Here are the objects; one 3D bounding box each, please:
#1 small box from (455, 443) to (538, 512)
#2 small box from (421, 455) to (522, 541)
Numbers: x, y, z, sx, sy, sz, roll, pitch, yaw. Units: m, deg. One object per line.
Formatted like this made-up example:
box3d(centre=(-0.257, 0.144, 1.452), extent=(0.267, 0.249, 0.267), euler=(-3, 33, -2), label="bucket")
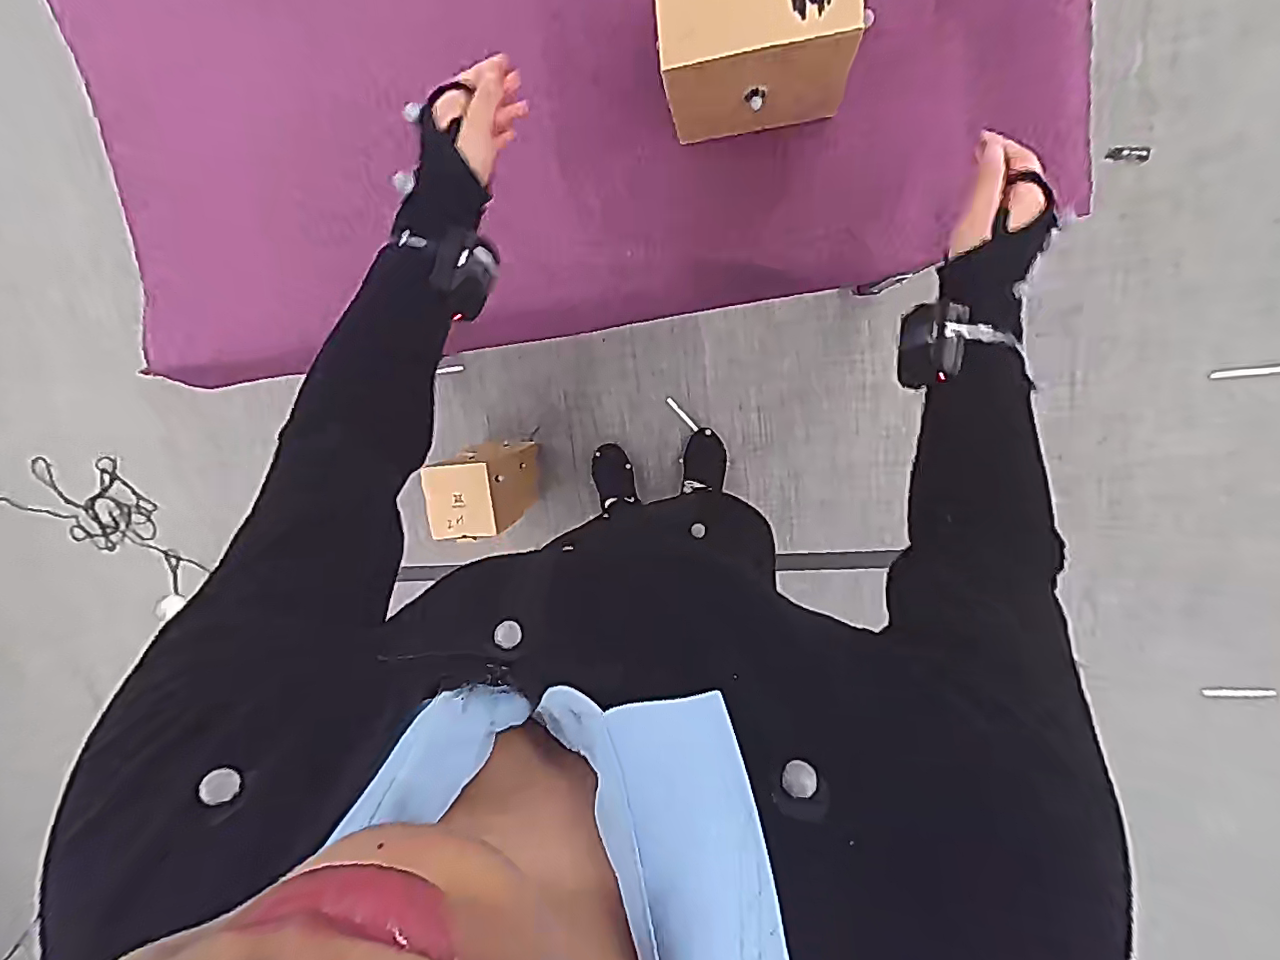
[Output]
box3d(centre=(-0.383, 0.000, 1.472), extent=(0.168, 0.176, 0.179), euler=(1, 102, 9), label="small box")
box3d(centre=(-0.401, 0.037, 1.311), extent=(0.168, 0.176, 0.179), euler=(-4, 101, 10), label="small box")
